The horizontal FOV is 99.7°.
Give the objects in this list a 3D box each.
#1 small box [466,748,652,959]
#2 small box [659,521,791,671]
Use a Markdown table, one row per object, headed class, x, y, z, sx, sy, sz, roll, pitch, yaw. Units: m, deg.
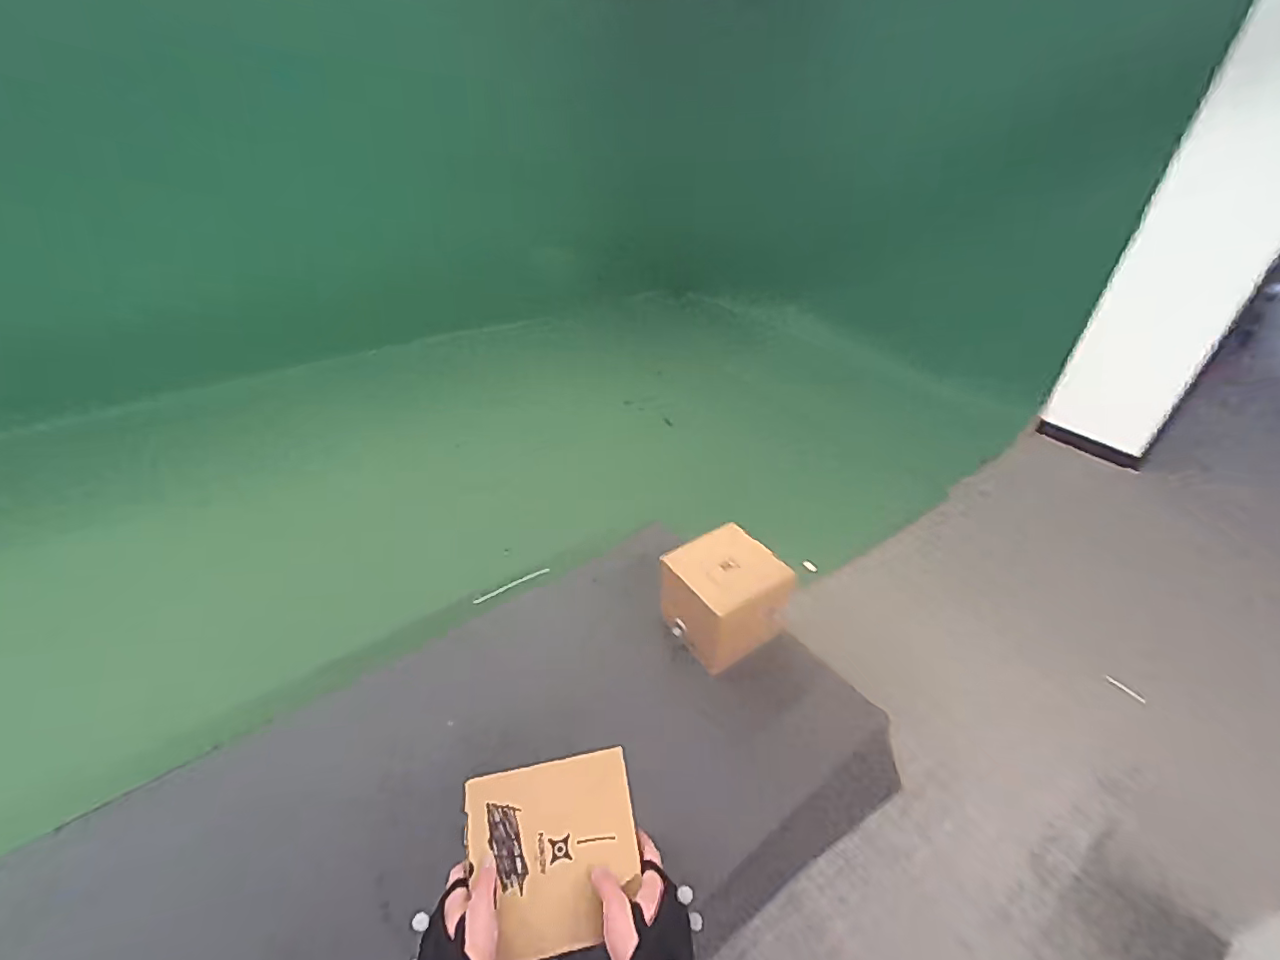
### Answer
| class | x | y | z | sx | sy | sz | roll | pitch | yaw |
| --- | --- | --- | --- | --- | --- | --- | --- | --- | --- |
| small box | -0.084 | 0.423 | 0.606 | 0.179 | 0.176 | 0.168 | -8 | 51 | -6 |
| small box | 0.147 | 0.211 | 0.997 | 0.179 | 0.176 | 0.168 | -24 | 42 | -26 |
